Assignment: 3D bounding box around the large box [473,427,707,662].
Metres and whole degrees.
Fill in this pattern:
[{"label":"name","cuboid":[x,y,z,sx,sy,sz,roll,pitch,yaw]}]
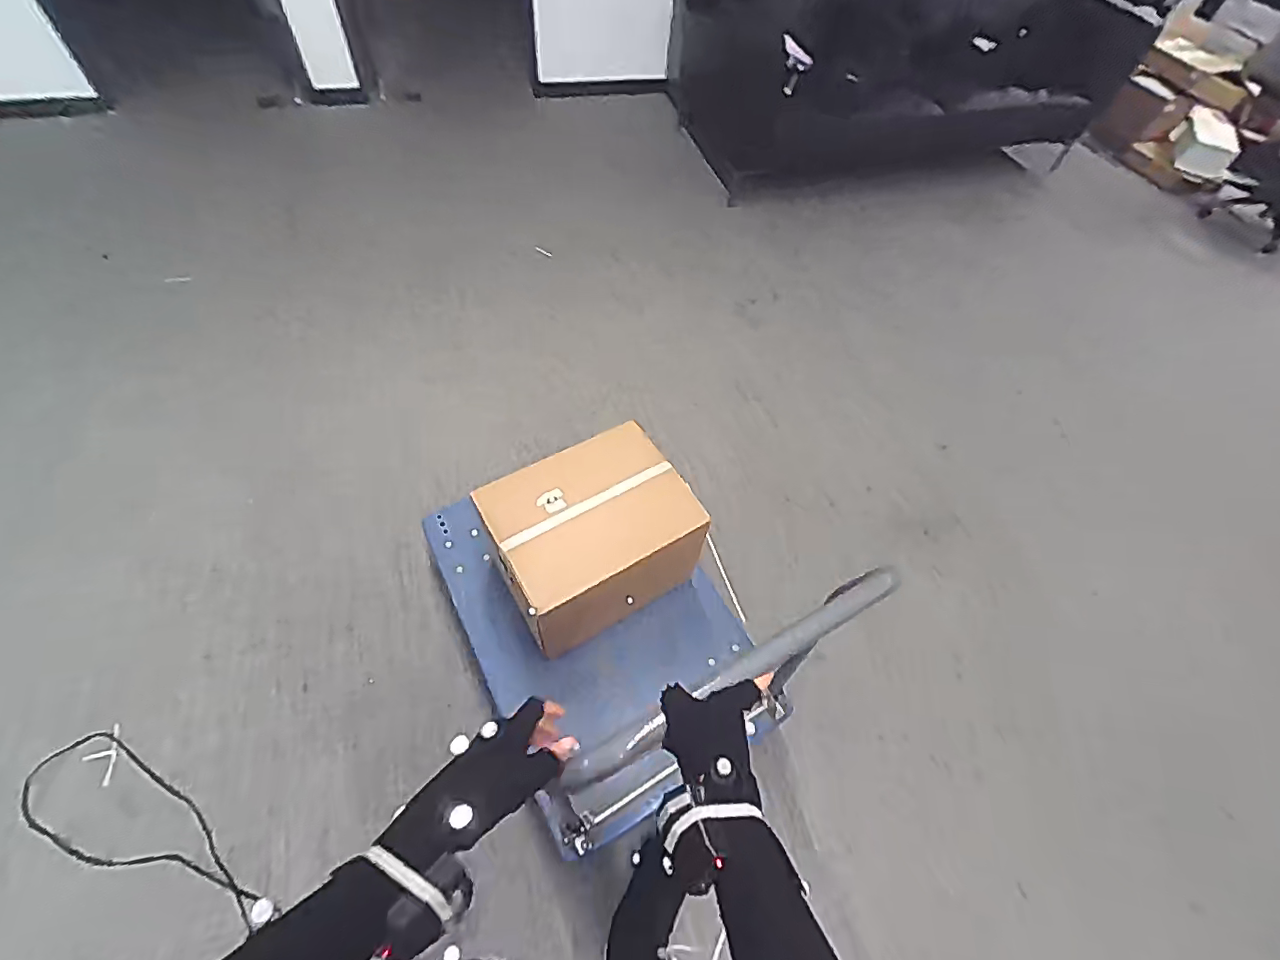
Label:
[{"label":"large box","cuboid":[-0.110,0.150,1.249,0.408,0.320,0.320,-27,61,-20]}]
